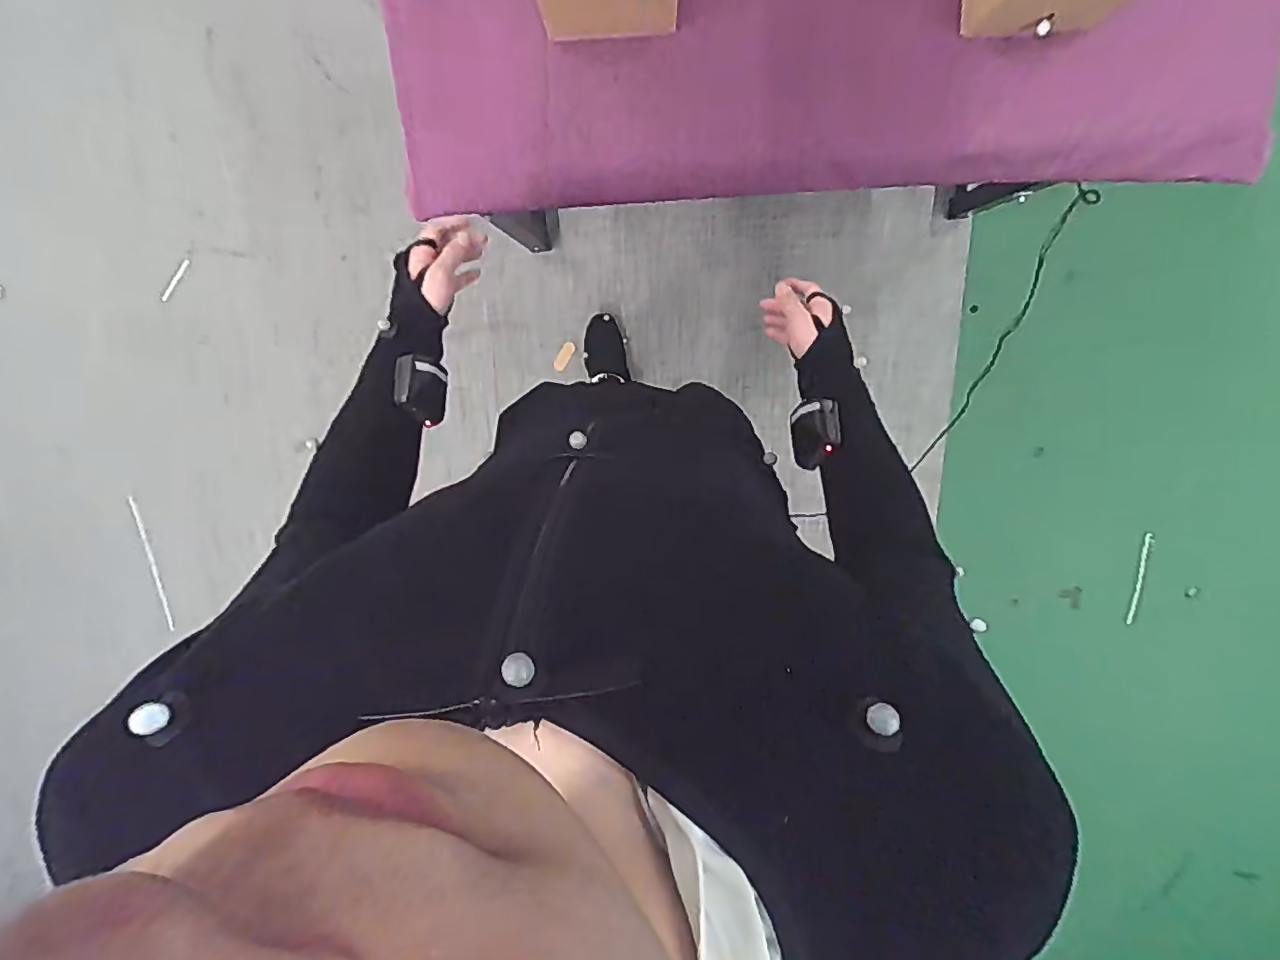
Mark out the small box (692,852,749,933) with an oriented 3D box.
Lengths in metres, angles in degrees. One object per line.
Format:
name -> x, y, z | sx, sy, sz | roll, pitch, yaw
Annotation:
small box -> 0.286, 1.484, 1.952 | 0.179, 0.176, 0.168 | 3, 105, 1

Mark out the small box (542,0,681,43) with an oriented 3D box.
small box -> -0.036, -0.663, 0.647 | 0.179, 0.176, 0.168 | -2, 105, 2

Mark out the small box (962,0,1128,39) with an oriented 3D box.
small box -> 0.518, -0.660, 0.634 | 0.179, 0.176, 0.168 | -4, 104, 2
